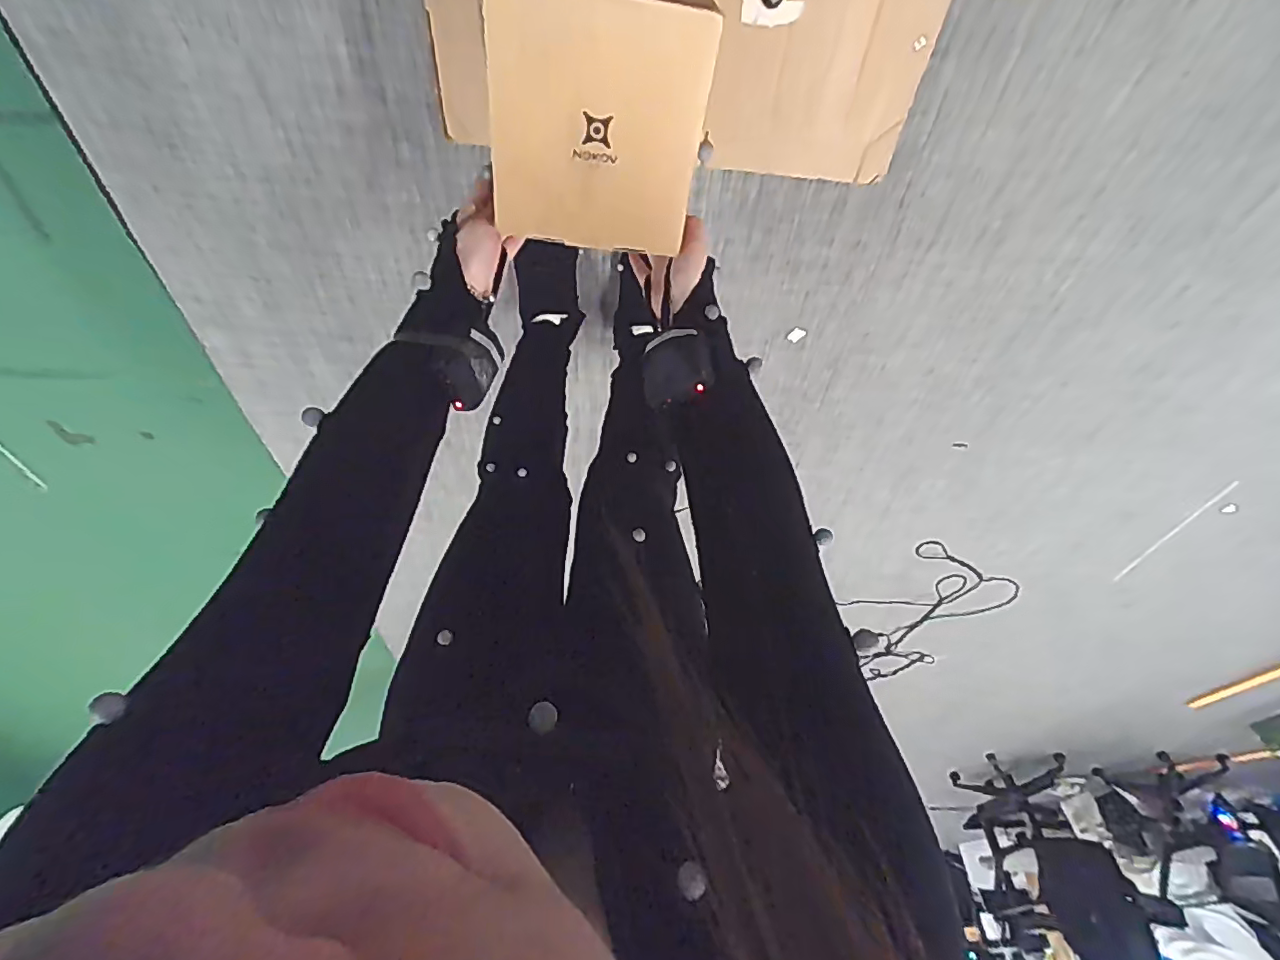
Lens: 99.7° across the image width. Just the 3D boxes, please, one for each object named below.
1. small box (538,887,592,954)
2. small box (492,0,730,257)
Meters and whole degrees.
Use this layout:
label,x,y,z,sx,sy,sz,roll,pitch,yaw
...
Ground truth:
label,x,y,z,sx,sy,sz,roll,pitch,yaw
small box,-0.250,1.496,1.836,0.168,0.176,0.179,1,138,-2
small box,-0.032,-0.327,0.476,0.168,0.176,0.179,5,138,-6
